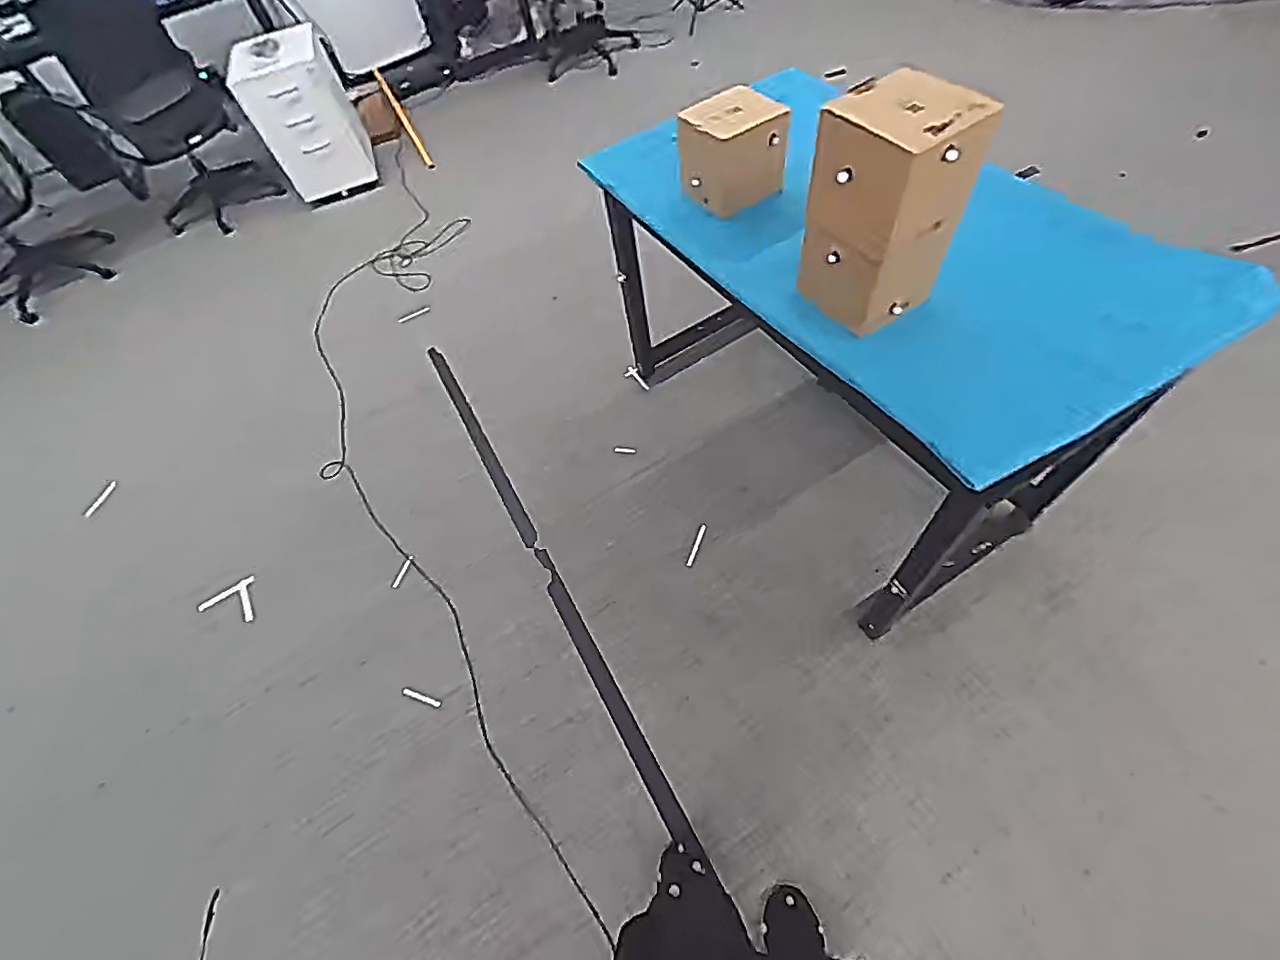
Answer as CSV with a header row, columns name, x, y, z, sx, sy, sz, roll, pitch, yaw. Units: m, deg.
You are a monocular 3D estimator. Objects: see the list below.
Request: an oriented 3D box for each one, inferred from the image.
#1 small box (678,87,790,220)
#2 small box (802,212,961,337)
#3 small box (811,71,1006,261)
name,x,y,z,sx,sy,sz,roll,pitch,yaw
small box,0.203,-0.711,1.183,0.179,0.176,0.168,-30,57,-7
small box,0.404,-0.385,0.946,0.168,0.176,0.179,-31,58,-10
small box,0.380,-0.461,0.804,0.168,0.176,0.179,-34,60,-12
